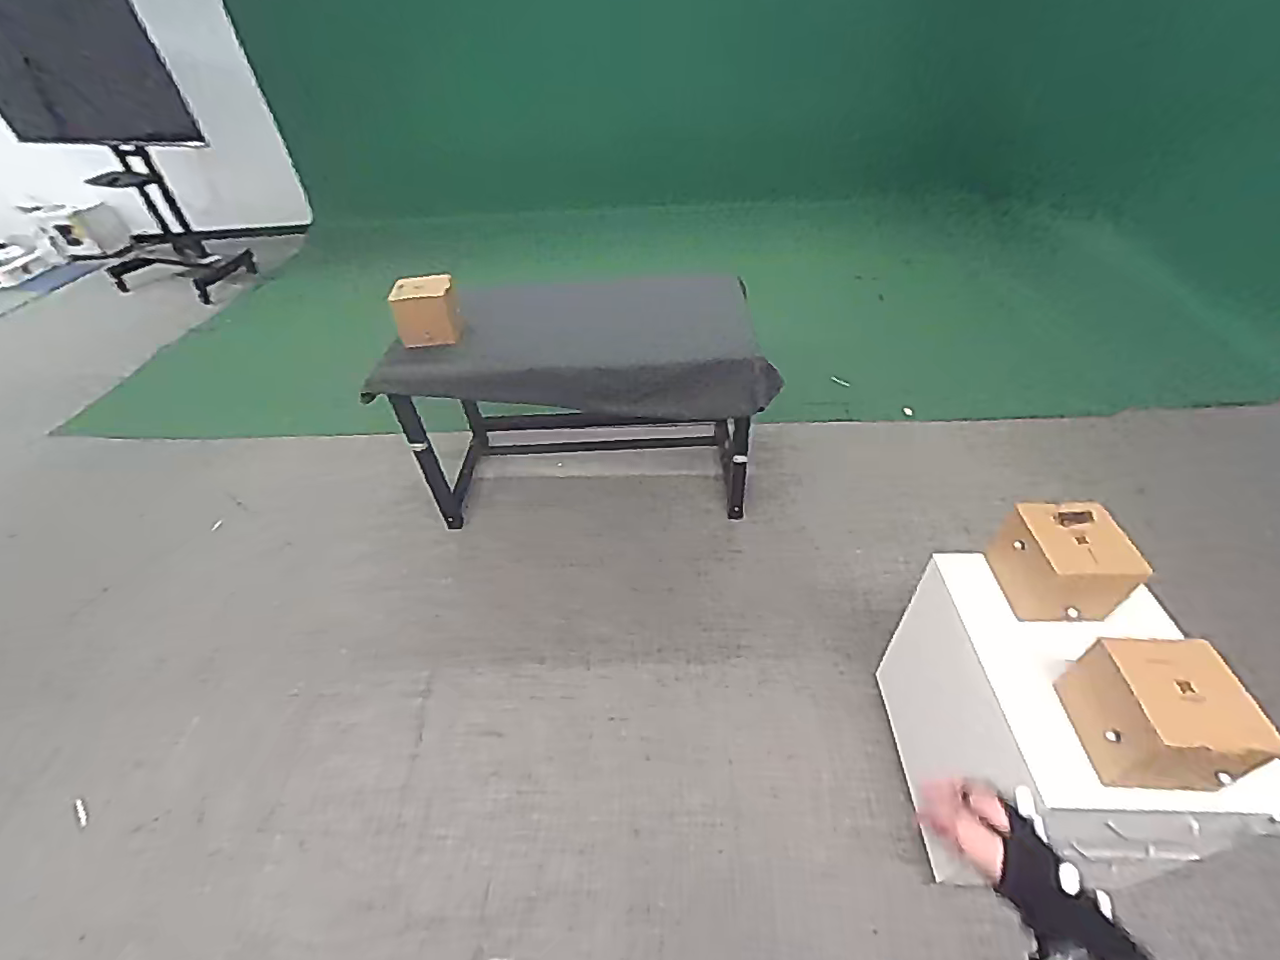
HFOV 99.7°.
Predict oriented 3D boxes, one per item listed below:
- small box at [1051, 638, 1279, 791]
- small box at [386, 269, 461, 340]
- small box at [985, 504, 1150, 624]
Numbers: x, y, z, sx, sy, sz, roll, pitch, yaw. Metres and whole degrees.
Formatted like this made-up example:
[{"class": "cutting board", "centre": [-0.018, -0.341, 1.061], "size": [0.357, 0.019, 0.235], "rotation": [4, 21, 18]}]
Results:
[{"class": "small box", "centre": [0.817, 0.377, 0.867], "size": [0.168, 0.176, 0.179], "rotation": [2, 42, 4]}, {"class": "small box", "centre": [-0.699, -0.574, 1.769], "size": [0.179, 0.176, 0.168], "rotation": [-5, 43, -4]}, {"class": "small box", "centre": [0.832, 0.167, 1.080], "size": [0.168, 0.176, 0.179], "rotation": [-1, 46, 3]}]
